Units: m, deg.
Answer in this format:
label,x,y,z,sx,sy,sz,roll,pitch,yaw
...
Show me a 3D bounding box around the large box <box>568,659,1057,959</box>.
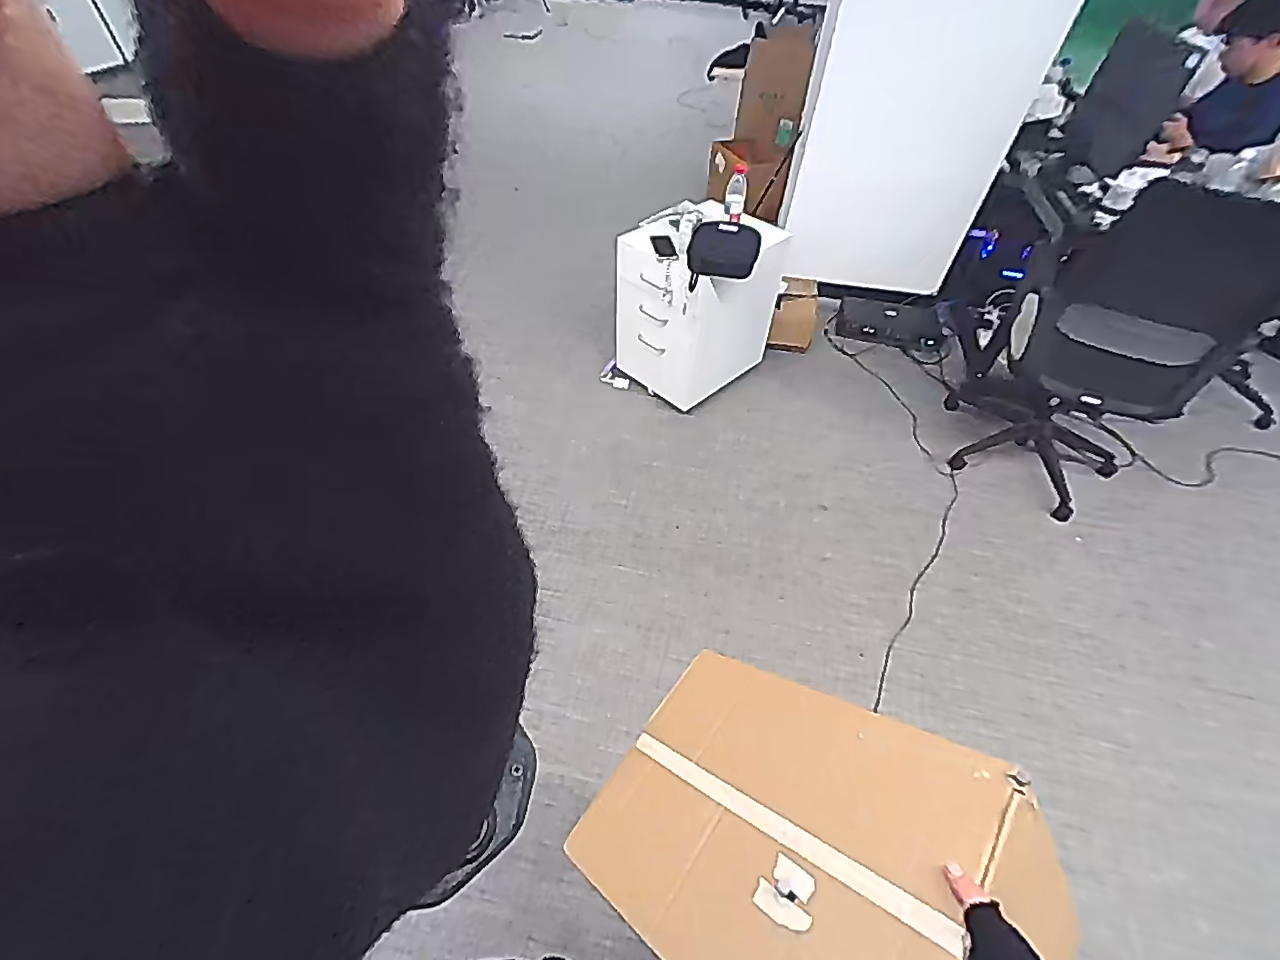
label,x,y,z,sx,sy,sz,roll,pitch,yaw
large box,0.197,0.480,0.642,0.408,0.320,0.320,4,43,51
